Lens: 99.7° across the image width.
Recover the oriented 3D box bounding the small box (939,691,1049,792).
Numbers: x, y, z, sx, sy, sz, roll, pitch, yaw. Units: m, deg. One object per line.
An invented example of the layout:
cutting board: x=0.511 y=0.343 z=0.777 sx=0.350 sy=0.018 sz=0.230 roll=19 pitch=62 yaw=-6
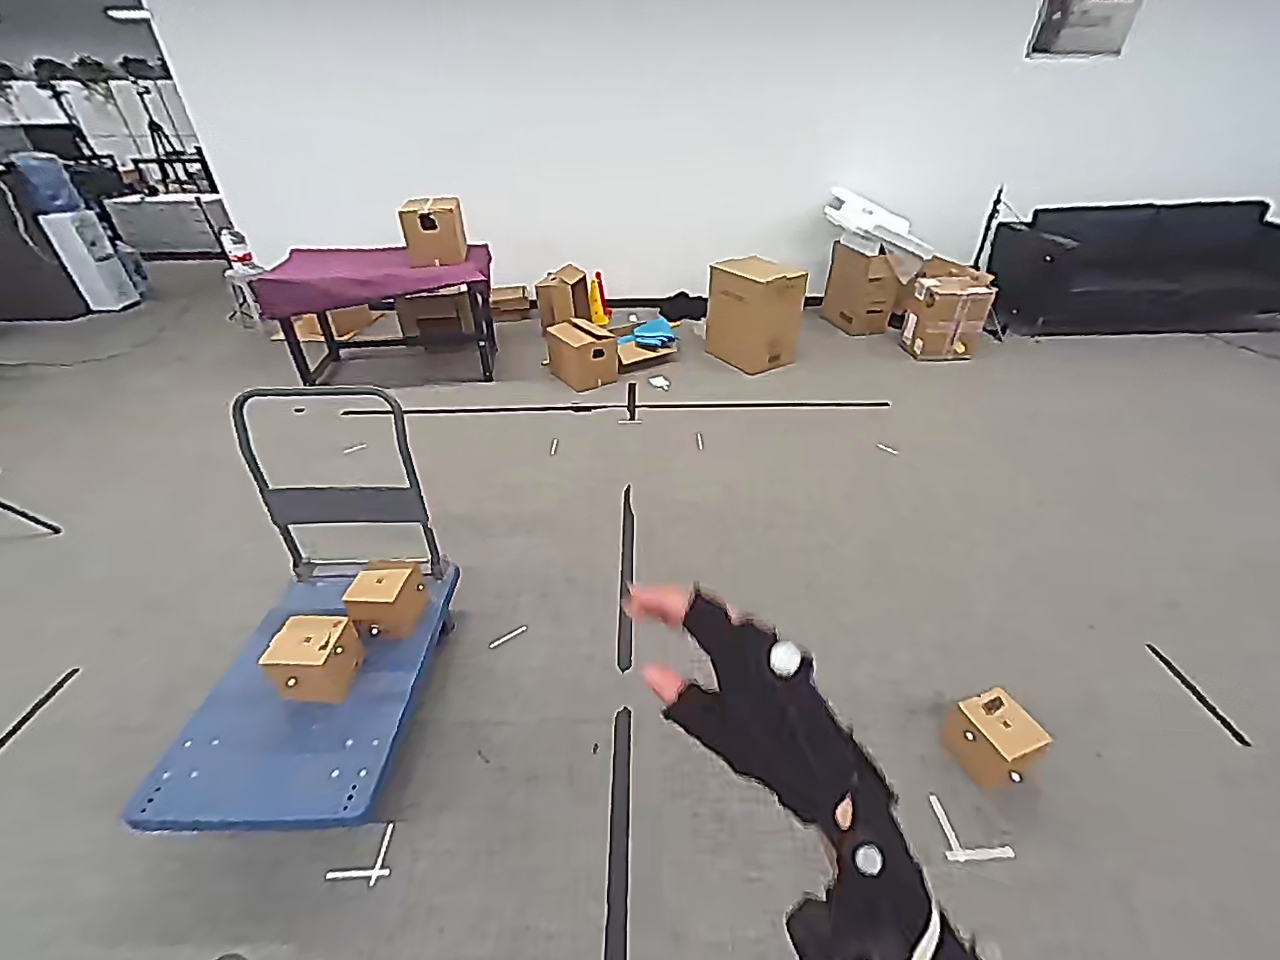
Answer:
small box: x=0.991 y=0.740 z=1.533 sx=0.168 sy=0.176 sz=0.179 roll=-12 pitch=37 yaw=-16

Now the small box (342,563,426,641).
small box: x=-0.803 y=0.387 z=1.722 sx=0.168 sy=0.176 sz=0.179 roll=0 pitch=36 yaw=5

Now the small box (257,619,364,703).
small box: x=-0.924 y=0.515 z=1.536 sx=0.179 sy=0.176 sz=0.168 roll=0 pitch=36 yaw=2
